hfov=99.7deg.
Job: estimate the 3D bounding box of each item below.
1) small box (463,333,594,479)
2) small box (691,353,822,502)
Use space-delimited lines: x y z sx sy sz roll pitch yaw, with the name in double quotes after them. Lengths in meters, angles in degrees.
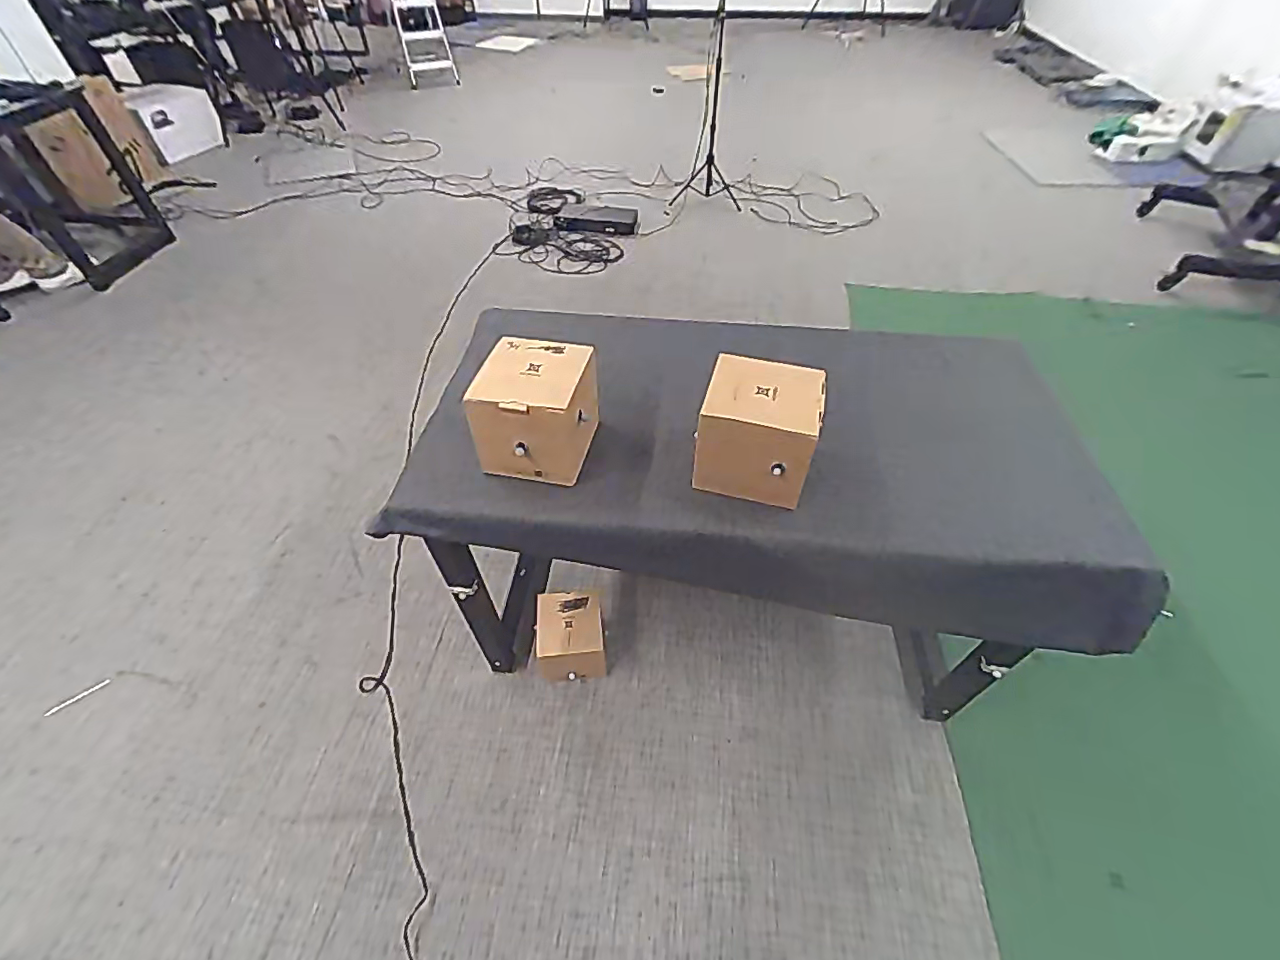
-0.176 -0.124 0.927 0.168 0.176 0.179 9 48 6 "small box"
0.190 -0.085 0.901 0.179 0.176 0.168 11 48 11 "small box"
